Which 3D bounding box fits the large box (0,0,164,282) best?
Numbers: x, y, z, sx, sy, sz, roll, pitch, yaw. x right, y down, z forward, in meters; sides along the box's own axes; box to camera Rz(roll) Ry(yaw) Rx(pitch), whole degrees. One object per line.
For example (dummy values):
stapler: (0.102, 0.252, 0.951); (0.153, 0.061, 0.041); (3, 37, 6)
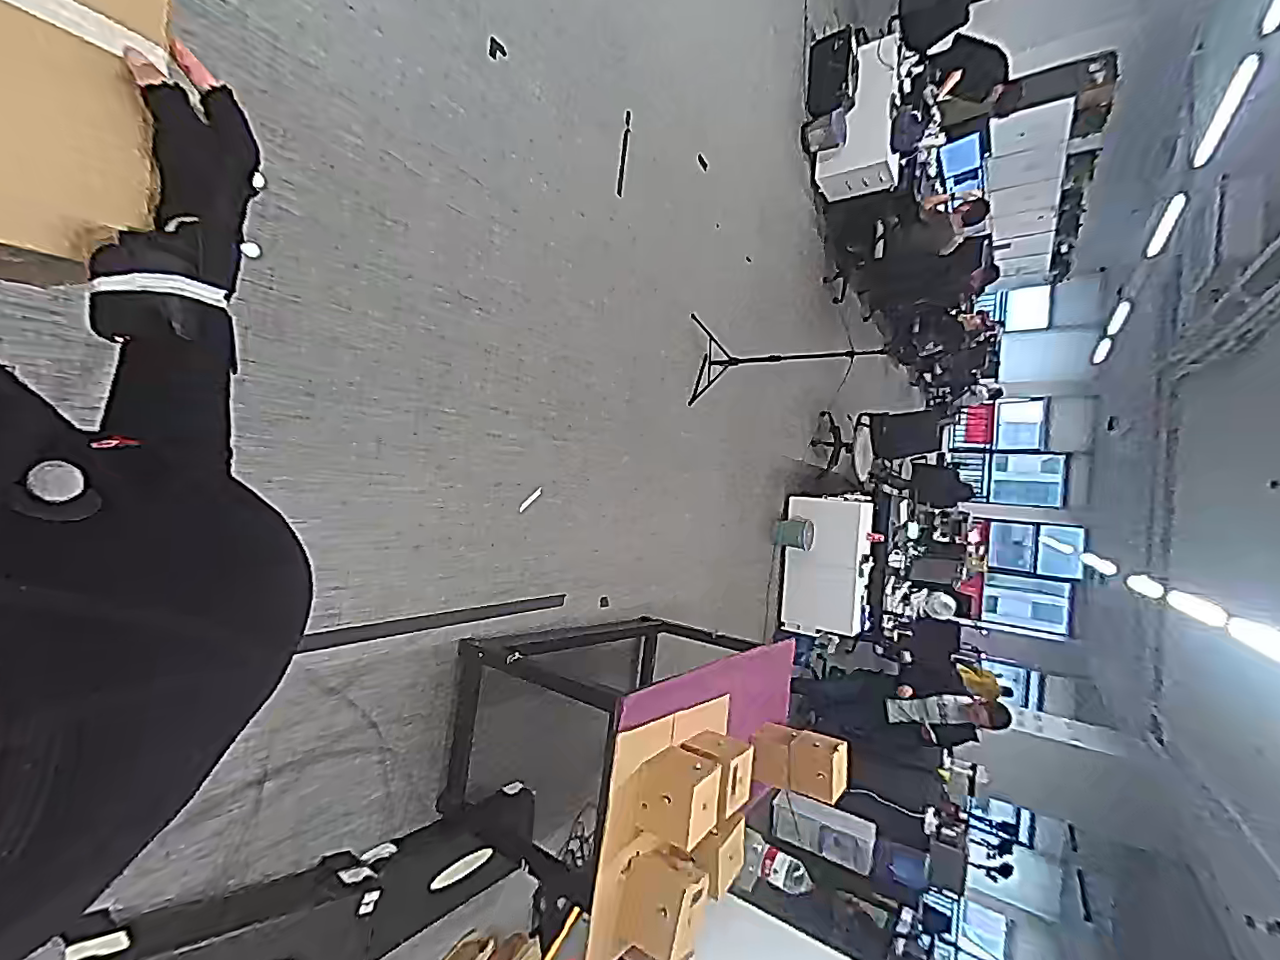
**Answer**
large box: (-0.599, -0.332, 0.319); (0.408, 0.320, 0.320); (-1, 101, -60)
